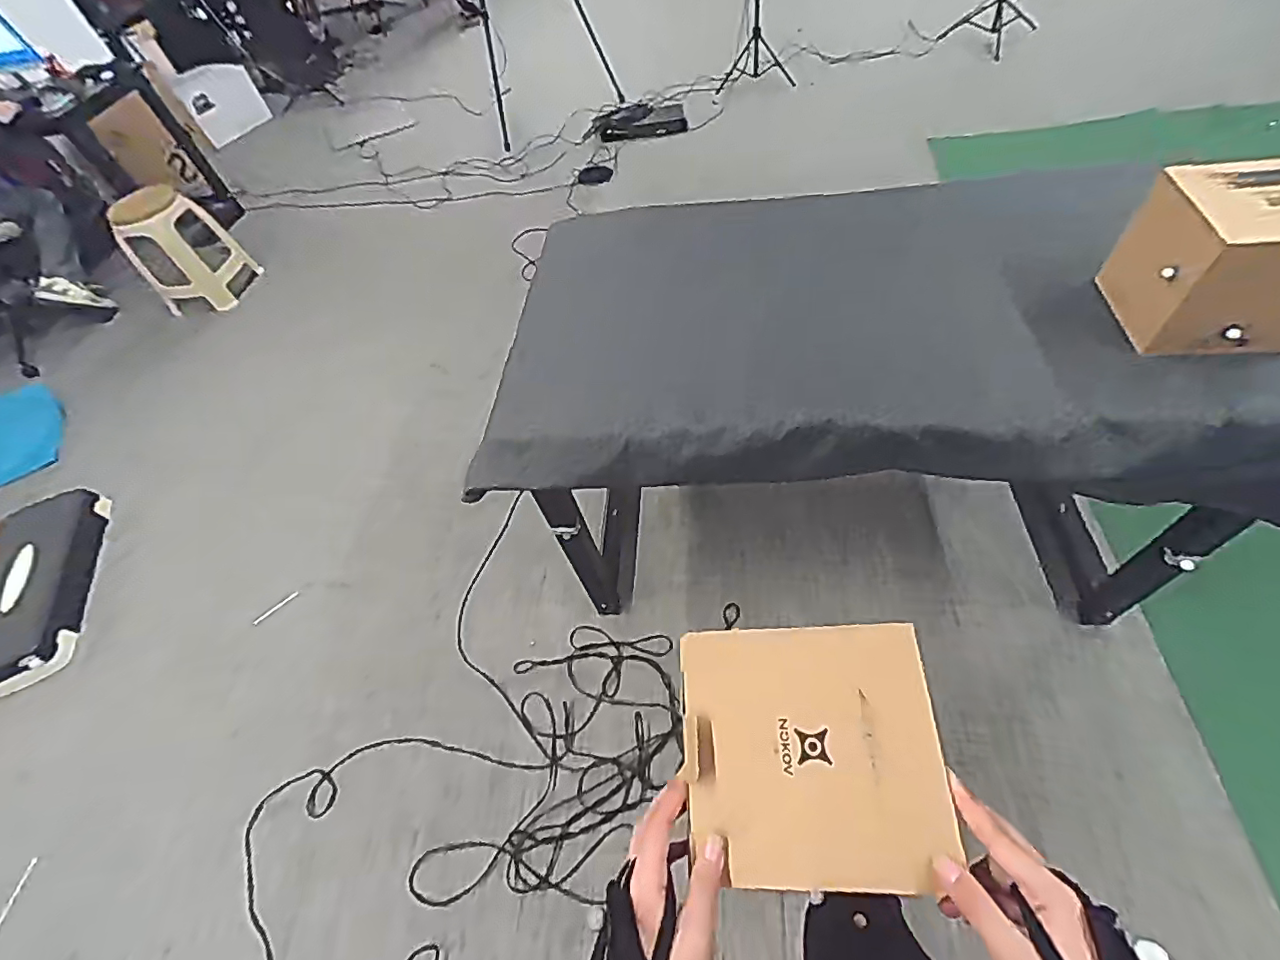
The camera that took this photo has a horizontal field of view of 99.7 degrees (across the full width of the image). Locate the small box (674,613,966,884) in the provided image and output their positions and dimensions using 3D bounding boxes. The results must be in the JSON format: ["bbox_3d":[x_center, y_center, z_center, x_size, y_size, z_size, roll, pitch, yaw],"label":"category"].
[{"bbox_3d":[0.127,0.212,0.445,0.179,0.176,0.168,-5,64,8],"label":"small box"}]
